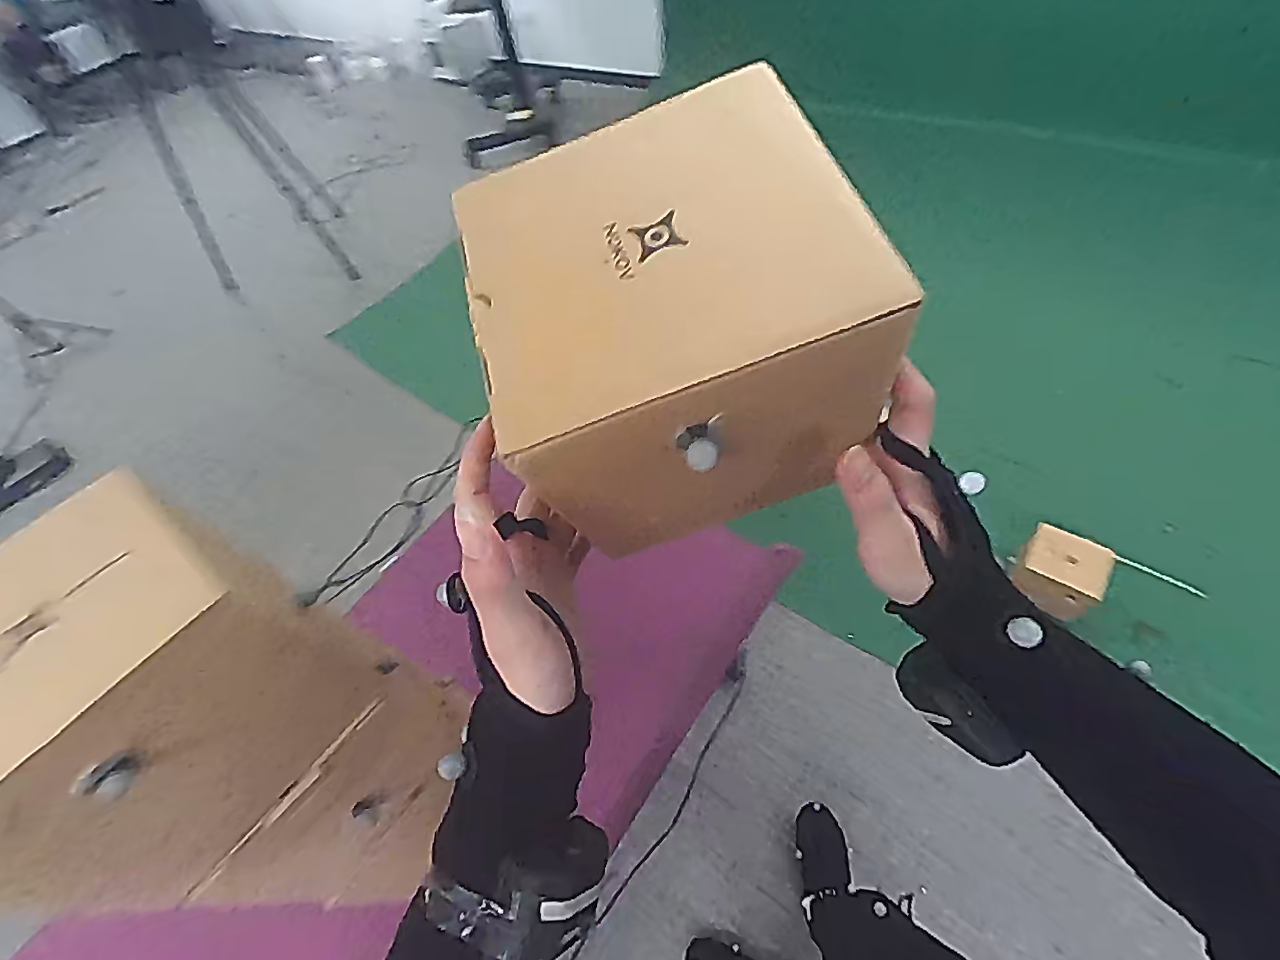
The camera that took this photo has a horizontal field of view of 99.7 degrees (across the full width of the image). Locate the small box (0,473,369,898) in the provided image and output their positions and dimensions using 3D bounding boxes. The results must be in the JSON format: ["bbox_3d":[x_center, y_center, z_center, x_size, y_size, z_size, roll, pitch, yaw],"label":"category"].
[{"bbox_3d":[-0.326,0.134,0.355,0.168,0.176,0.179,28,62,28],"label":"small box"}]

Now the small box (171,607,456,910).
[{"bbox_3d":[-0.300,0.232,0.485,0.179,0.176,0.168,31,64,28],"label":"small box"}]

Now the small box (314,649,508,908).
[{"bbox_3d":[-0.271,0.331,0.611,0.168,0.176,0.179,31,65,28],"label":"small box"}]

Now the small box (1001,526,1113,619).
[{"bbox_3d":[1.153,0.265,1.506,0.179,0.176,0.168,27,63,26],"label":"small box"}]

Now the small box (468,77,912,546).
[{"bbox_3d":[0.025,-0.077,0.323,0.179,0.176,0.168,-19,64,8],"label":"small box"}]
